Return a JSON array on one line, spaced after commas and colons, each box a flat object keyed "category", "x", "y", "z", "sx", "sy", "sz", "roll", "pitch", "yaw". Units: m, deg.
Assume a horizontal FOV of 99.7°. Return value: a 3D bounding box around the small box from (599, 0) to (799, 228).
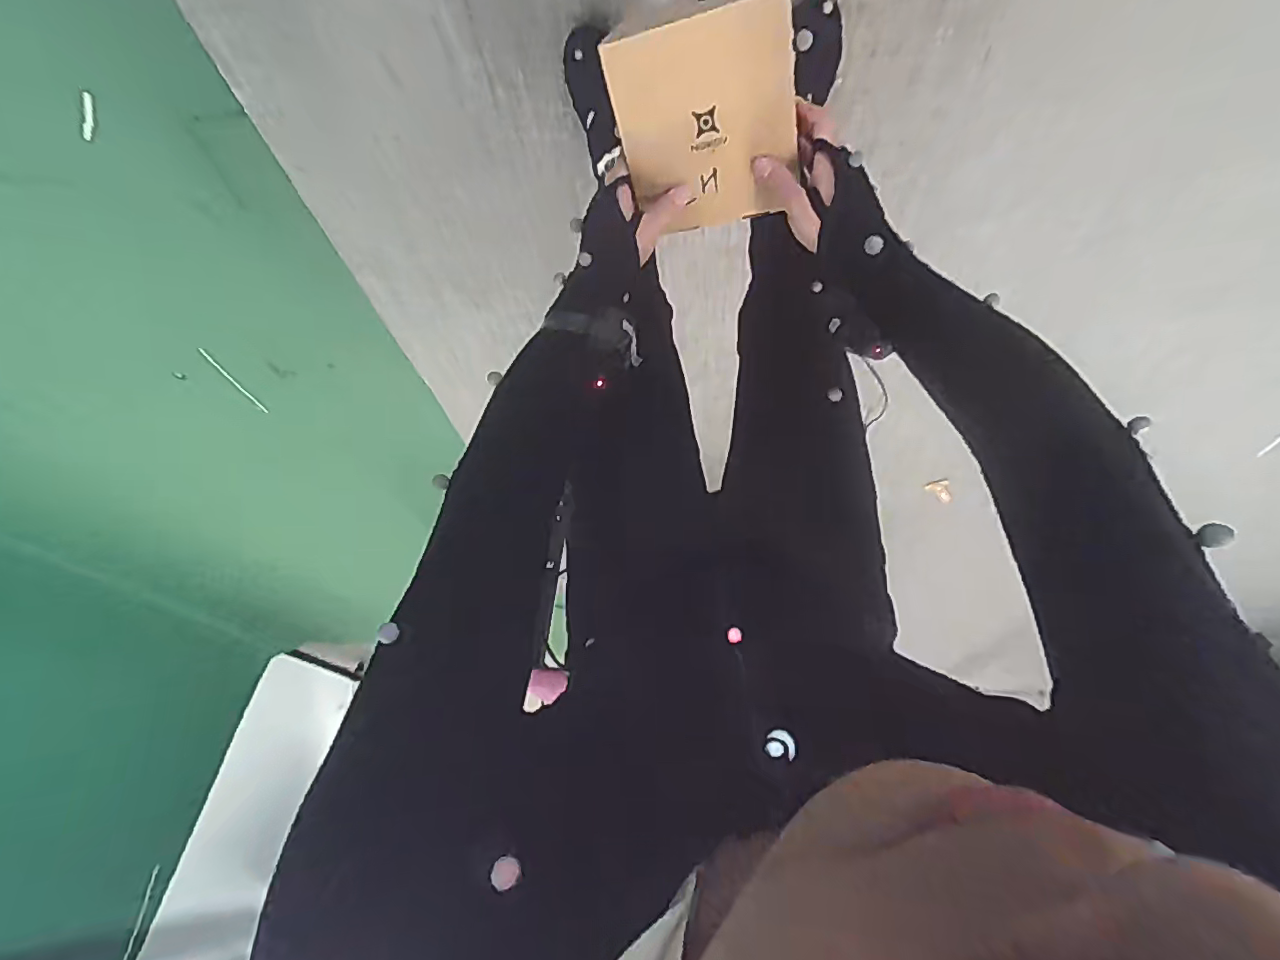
[{"category": "small box", "x": 0.072, "y": -0.394, "z": 0.557, "sx": 0.168, "sy": 0.176, "sz": 0.179, "roll": -3, "pitch": 136, "yaw": 17}]
